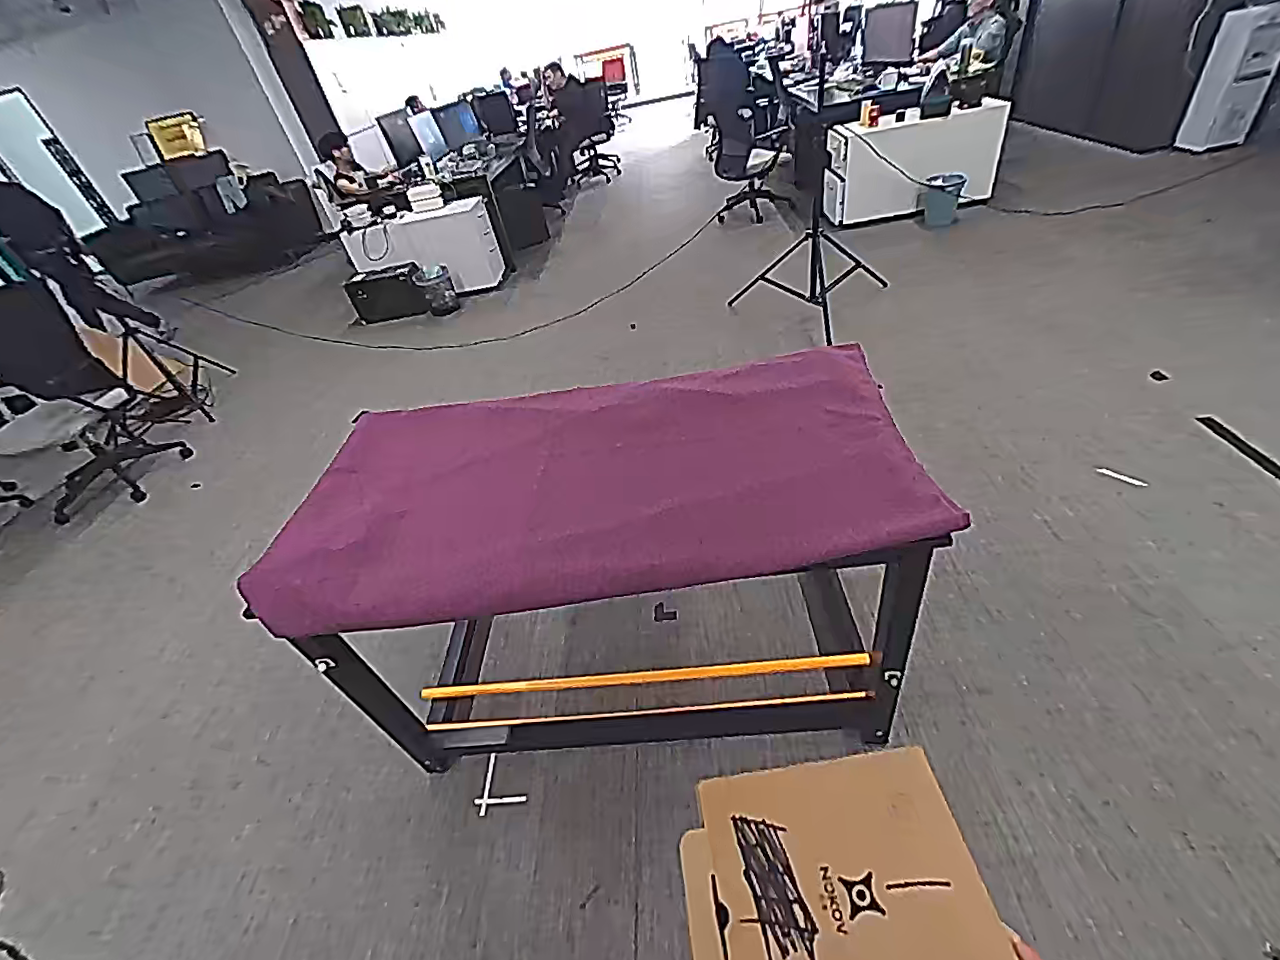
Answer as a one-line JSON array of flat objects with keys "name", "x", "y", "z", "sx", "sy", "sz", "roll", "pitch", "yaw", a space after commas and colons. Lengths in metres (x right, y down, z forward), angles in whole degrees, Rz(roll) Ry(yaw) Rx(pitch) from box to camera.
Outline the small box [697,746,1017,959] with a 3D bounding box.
[{"name": "small box", "x": 0.148, "y": 0.330, "z": 0.412, "sx": 0.179, "sy": 0.176, "sz": 0.168, "roll": -10, "pitch": 44, "yaw": 1}]
